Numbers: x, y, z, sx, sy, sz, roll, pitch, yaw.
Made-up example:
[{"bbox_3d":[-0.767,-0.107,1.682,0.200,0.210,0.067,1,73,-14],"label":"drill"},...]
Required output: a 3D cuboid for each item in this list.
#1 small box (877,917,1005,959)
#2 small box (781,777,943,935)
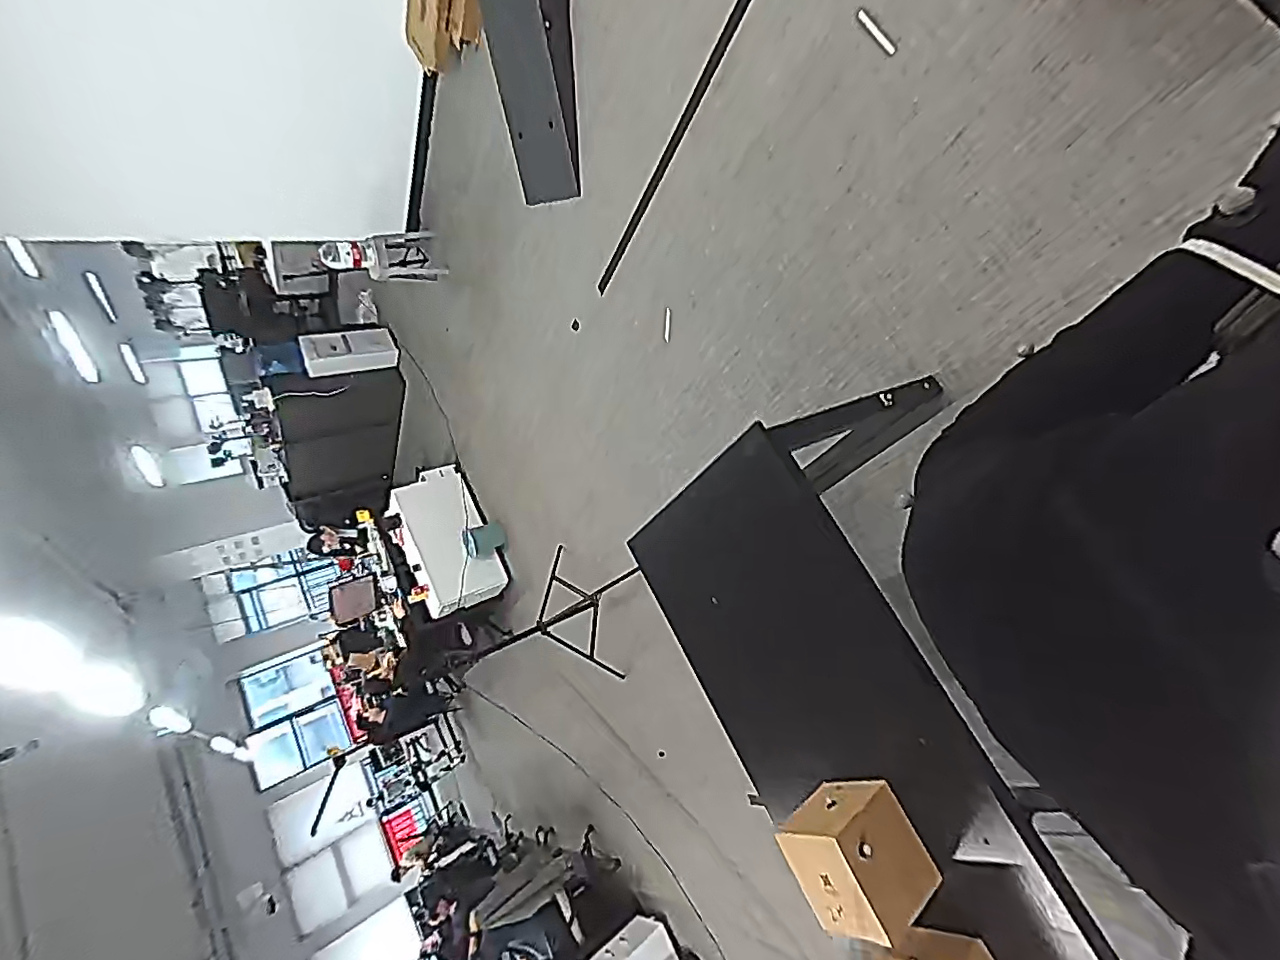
[{"bbox_3d":[0.529,0.892,0.918,0.168,0.176,0.179,60,143,16],"label":"small box"},{"bbox_3d":[0.402,0.667,0.988,0.179,0.176,0.168,61,145,15],"label":"small box"}]
